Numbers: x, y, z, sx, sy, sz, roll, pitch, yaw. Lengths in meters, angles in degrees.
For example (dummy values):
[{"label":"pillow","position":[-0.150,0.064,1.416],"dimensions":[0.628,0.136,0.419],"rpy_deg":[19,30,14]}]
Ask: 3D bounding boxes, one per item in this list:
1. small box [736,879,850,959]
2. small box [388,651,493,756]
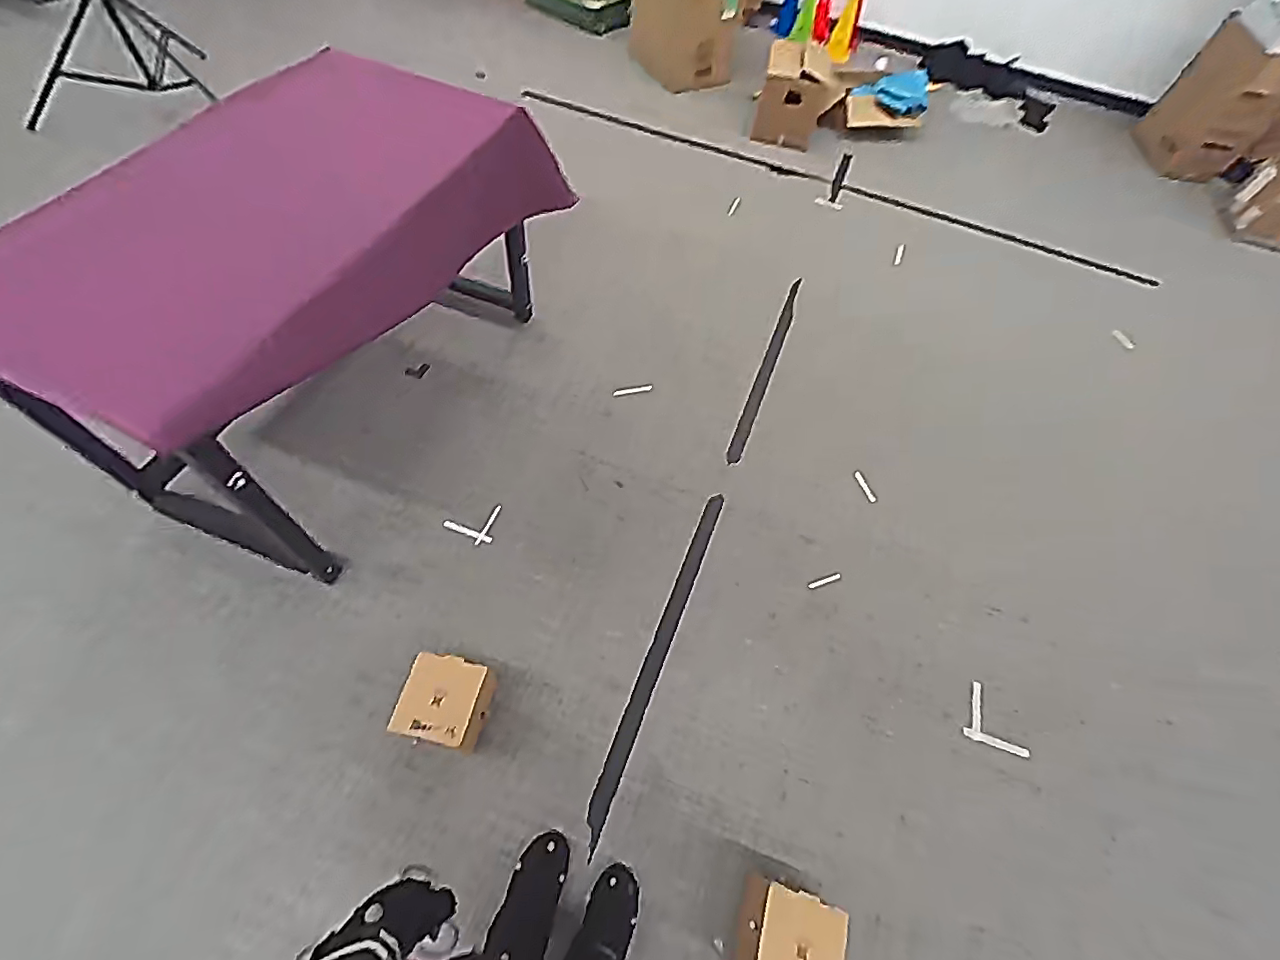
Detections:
[{"label":"small box","position":[0.305,0.945,1.098],"dimensions":[0.168,0.176,0.179],"rpy_deg":[18,59,6]},{"label":"small box","position":[-0.455,0.525,1.265],"dimensions":[0.168,0.176,0.179],"rpy_deg":[14,57,2]}]
